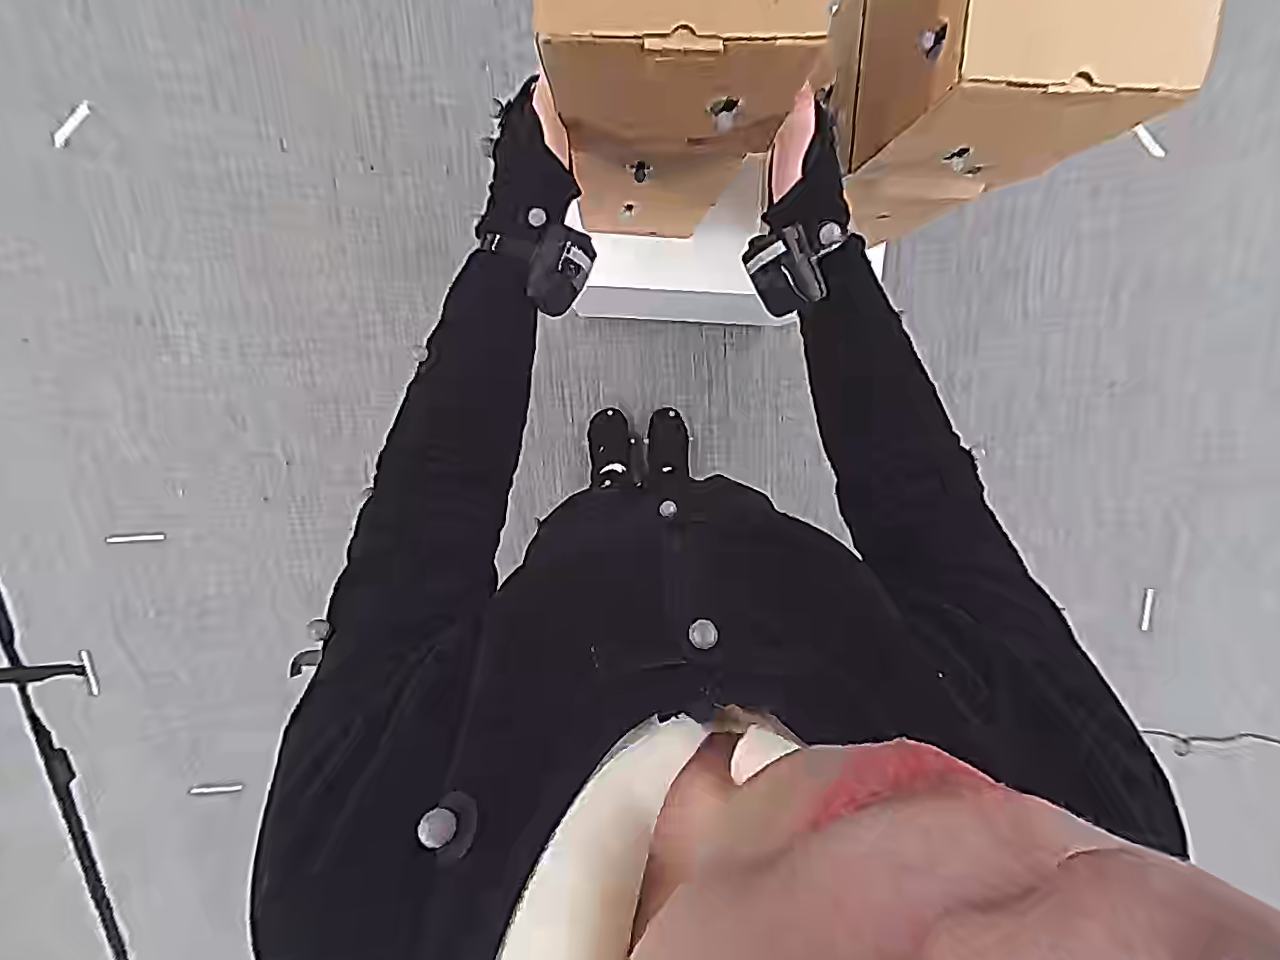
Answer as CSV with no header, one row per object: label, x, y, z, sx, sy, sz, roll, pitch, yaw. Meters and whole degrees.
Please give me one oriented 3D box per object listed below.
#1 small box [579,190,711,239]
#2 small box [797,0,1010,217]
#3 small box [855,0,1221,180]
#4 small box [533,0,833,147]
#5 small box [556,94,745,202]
small box,0.005,-0.438,0.714,0.168,0.176,0.179,3,101,-3
small box,0.273,-0.389,0.568,0.168,0.176,0.179,1,102,-3
small box,0.281,-0.353,0.410,0.168,0.176,0.179,0,103,-3
small box,0.025,-0.341,0.354,0.168,0.176,0.179,1,103,-1
small box,0.012,-0.399,0.553,0.179,0.176,0.168,2,103,-4
